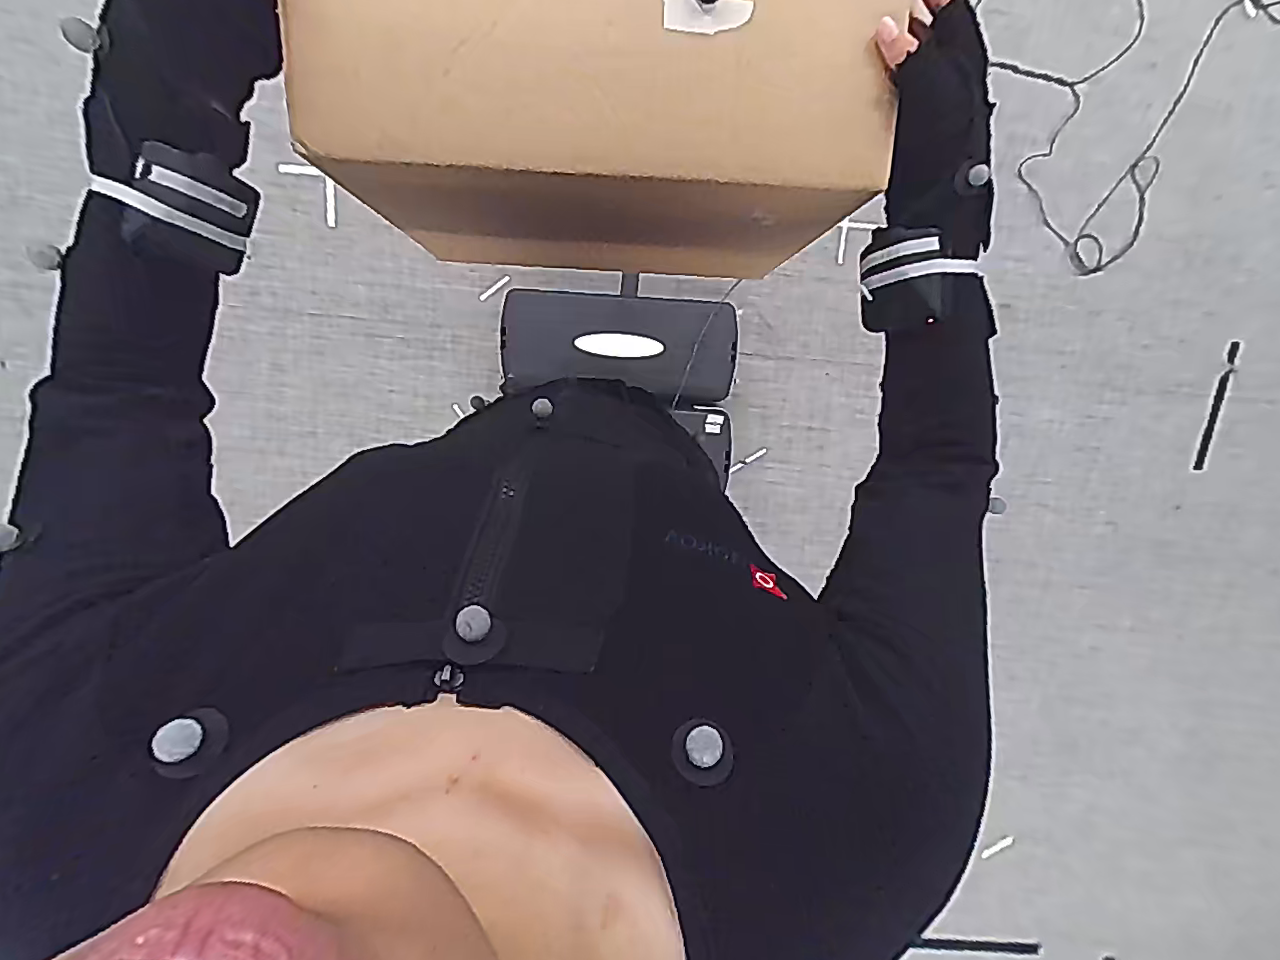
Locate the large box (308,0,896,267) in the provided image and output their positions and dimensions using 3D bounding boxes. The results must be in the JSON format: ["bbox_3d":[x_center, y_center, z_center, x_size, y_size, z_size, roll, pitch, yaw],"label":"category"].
[{"bbox_3d":[-0.030,-0.396,0.503,0.408,0.320,0.320,1,100,-4],"label":"large box"}]

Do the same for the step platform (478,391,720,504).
[{"bbox_3d":[-0.112,-0.095,1.562,0.684,0.204,0.286,3,99,-1],"label":"step platform"}]
